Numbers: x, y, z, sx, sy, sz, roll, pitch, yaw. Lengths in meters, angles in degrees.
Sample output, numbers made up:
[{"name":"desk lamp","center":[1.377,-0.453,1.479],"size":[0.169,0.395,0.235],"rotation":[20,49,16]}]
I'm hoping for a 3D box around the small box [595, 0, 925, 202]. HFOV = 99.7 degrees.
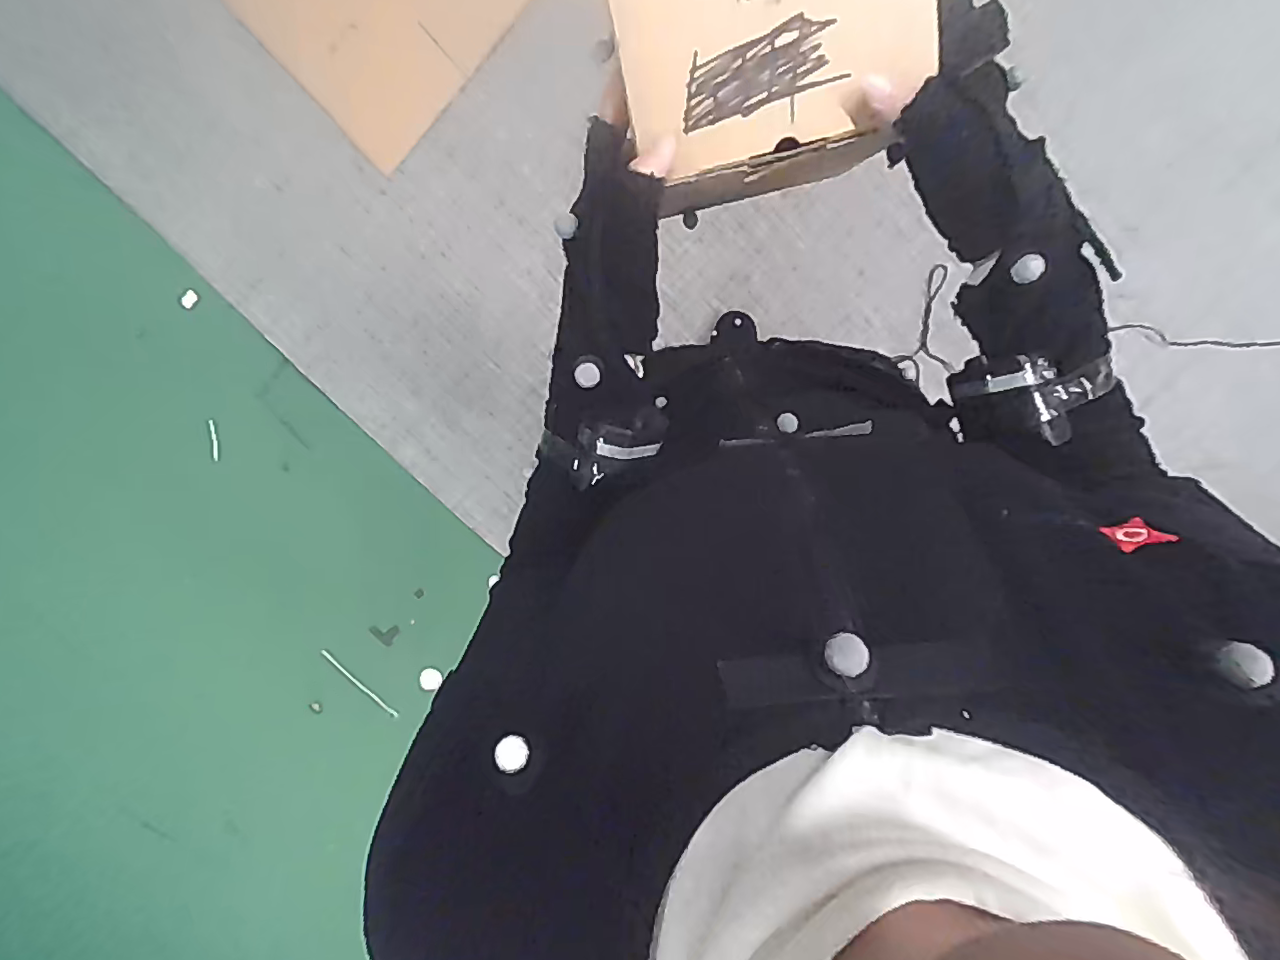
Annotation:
[{"name":"small box","center":[0.062,-0.299,0.355],"size":[0.168,0.176,0.179],"rotation":[-14,110,8]}]
